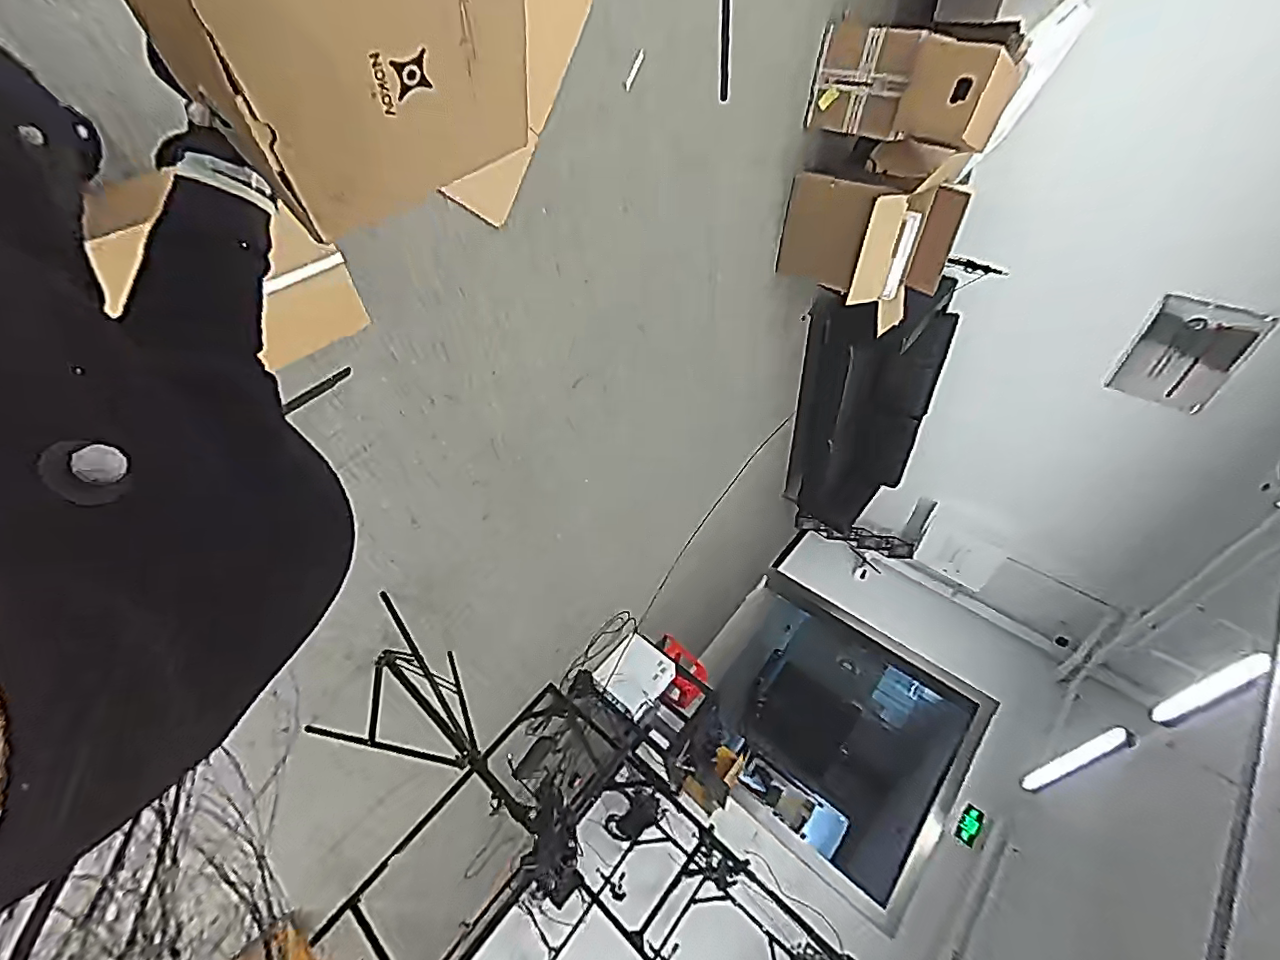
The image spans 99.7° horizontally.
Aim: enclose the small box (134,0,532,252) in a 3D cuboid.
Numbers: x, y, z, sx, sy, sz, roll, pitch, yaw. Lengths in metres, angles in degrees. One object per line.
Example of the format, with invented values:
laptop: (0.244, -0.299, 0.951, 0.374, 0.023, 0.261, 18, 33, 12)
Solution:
small box: (-0.186, -0.285, 0.321, 0.179, 0.176, 0.168, -41, 174, -19)
